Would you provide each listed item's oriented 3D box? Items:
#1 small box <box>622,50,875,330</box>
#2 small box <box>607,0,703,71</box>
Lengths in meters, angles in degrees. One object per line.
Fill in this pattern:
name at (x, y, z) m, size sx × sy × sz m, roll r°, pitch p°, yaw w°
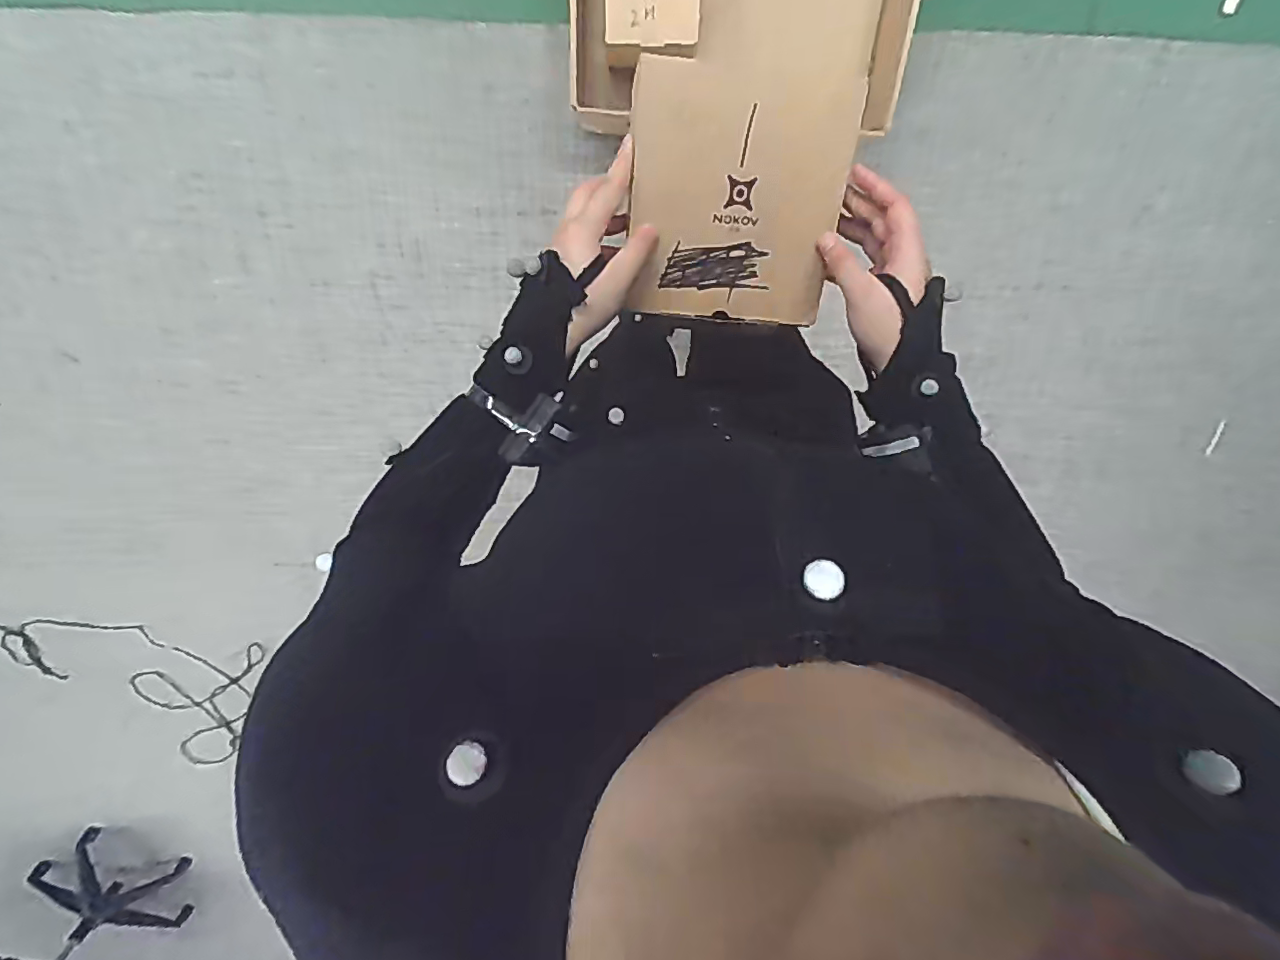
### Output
small box at (0.073, -0.248, 0.482) m, size 0.168 × 0.176 × 0.179 m, roll 4°, pitch 118°, yaw -6°
small box at (0.024, -0.871, 0.983) m, size 0.168 × 0.176 × 0.179 m, roll 0°, pitch 116°, yaw -1°
